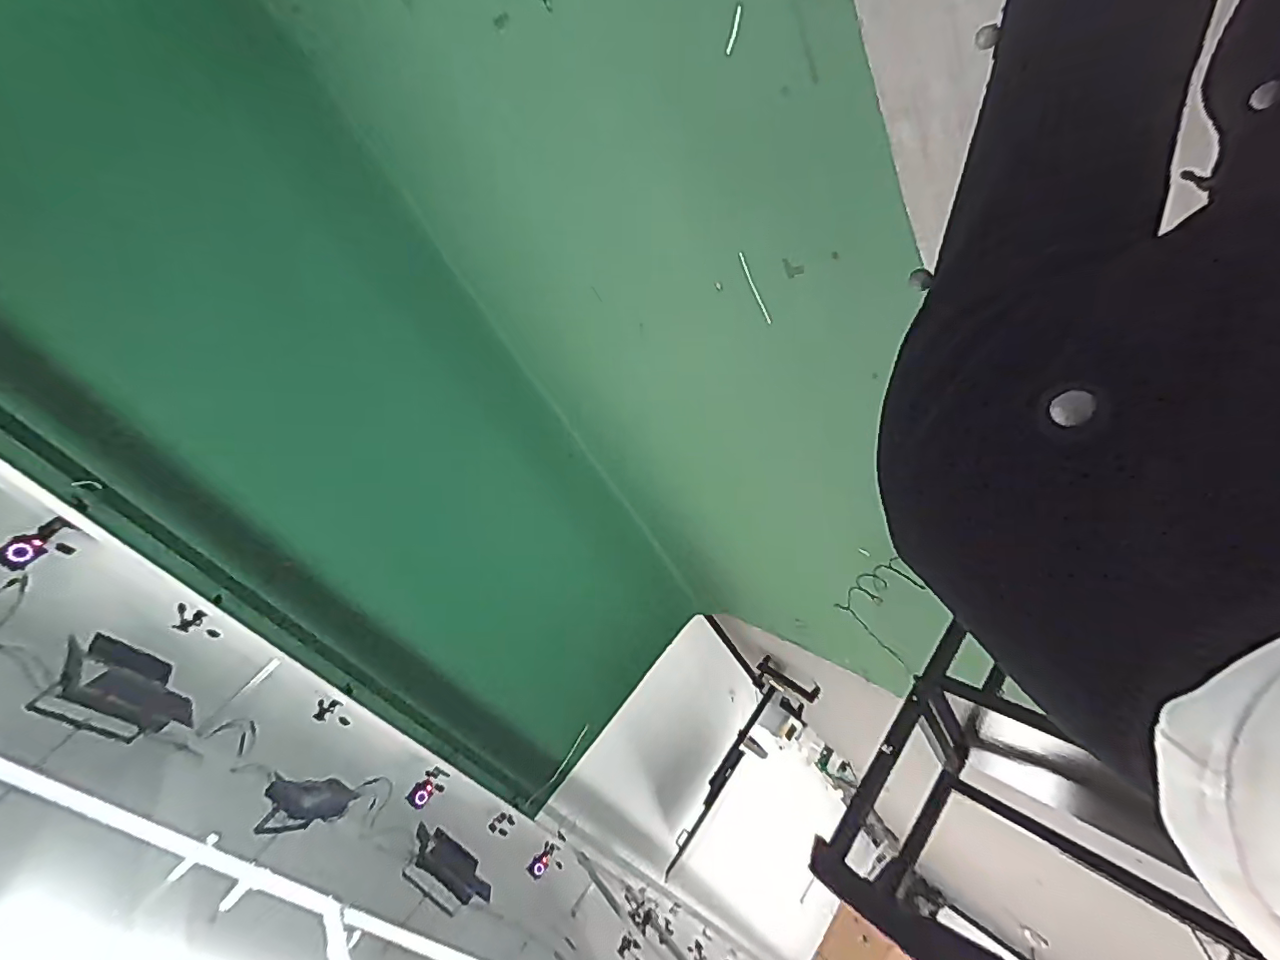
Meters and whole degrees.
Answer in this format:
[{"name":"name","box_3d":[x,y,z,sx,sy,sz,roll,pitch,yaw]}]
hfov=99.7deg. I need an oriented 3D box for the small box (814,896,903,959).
[{"name":"small box","box_3d":[0.662,1.415,1.627,0.168,0.176,0.179,13,143,53]}]
